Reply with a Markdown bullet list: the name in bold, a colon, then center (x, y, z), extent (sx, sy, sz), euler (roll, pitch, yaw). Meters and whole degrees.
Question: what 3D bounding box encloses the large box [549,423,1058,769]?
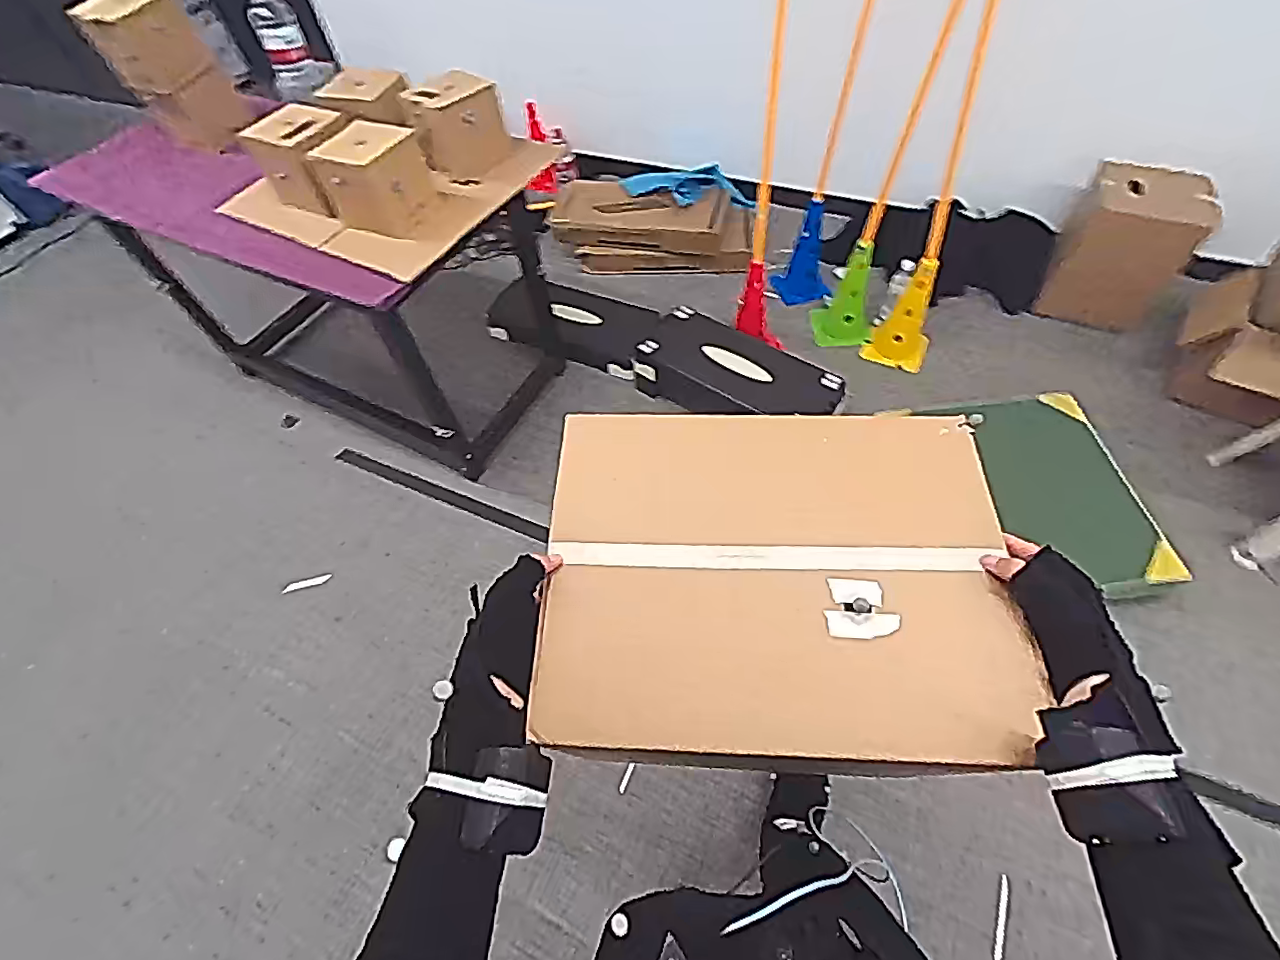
- **large box**: center (0.133, 0.148, 0.623), extent (0.408, 0.320, 0.320), euler (1, 61, 4)
